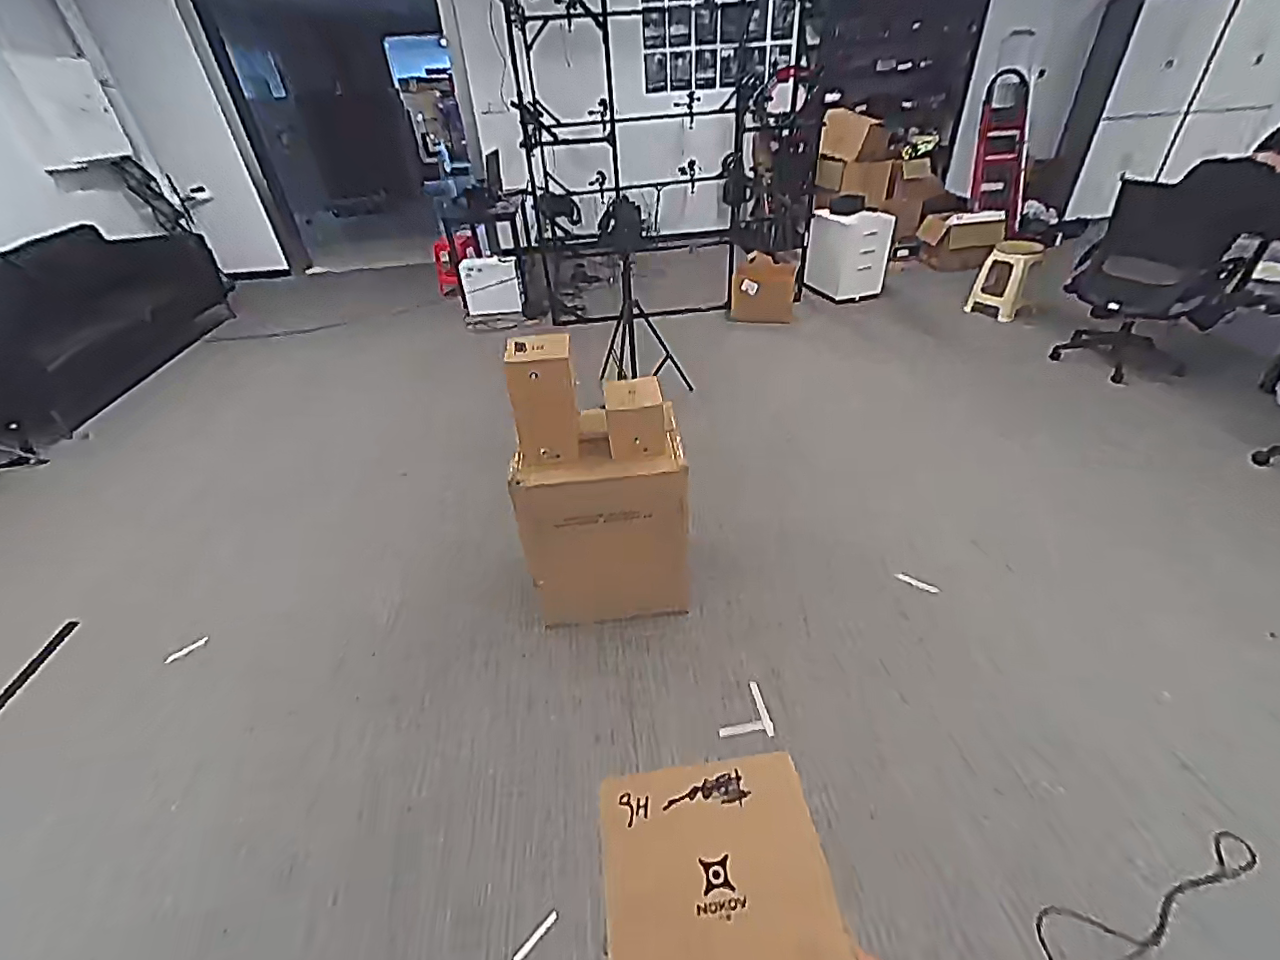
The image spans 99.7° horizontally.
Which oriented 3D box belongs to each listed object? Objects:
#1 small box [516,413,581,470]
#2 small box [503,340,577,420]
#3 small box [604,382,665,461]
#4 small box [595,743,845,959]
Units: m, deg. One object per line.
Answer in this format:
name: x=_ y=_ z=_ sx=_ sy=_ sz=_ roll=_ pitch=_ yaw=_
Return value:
small box: x=-0.270 y=-0.151 z=1.630 sx=0.168 sy=0.176 sz=0.179 roll=-7 pitch=38 yaw=-3
small box: x=-0.277 y=-0.281 z=1.530 sx=0.179 sy=0.176 sz=0.168 roll=-6 pitch=37 yaw=-4
small box: x=-0.018 y=-0.176 z=1.635 sx=0.168 sy=0.176 sz=0.179 roll=-8 pitch=37 yaw=-1
small box: x=0.057 y=0.352 z=0.453 sx=0.168 sy=0.176 sz=0.179 roll=-7 pitch=42 yaw=-2
